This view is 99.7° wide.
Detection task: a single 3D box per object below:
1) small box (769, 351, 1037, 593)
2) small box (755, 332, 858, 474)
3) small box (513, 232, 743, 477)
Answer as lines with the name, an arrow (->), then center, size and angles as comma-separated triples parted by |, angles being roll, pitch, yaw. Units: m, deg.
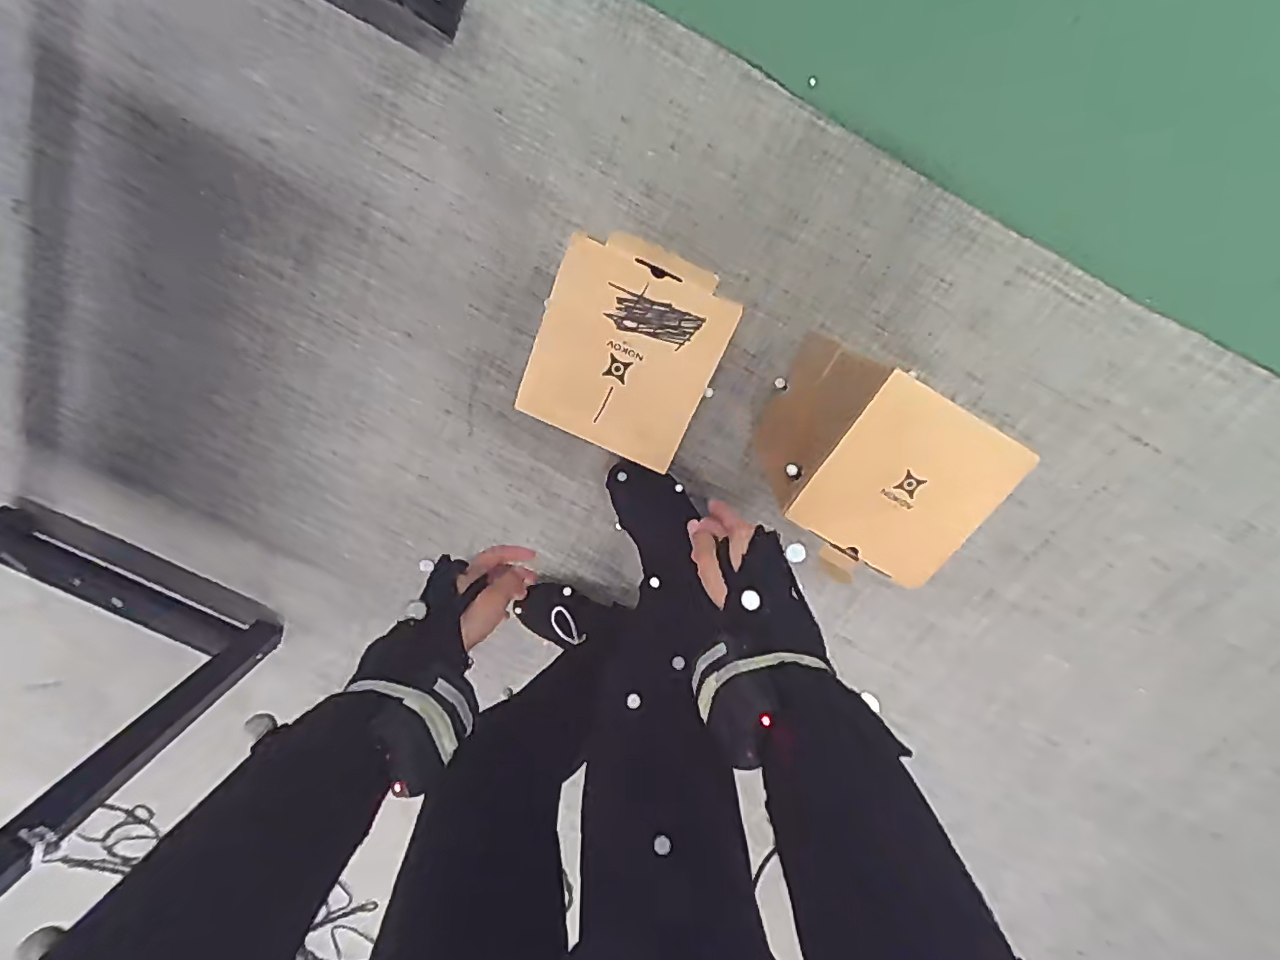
small box -> 0.258, -0.020, 0.586 | 0.168, 0.176, 0.179 | 29, 111, -6
small box -> 0.271, -0.079, 0.737 | 0.168, 0.176, 0.179 | 28, 113, -6
small box -> -0.009, -0.136, 0.570 | 0.168, 0.176, 0.179 | 24, 112, -2
